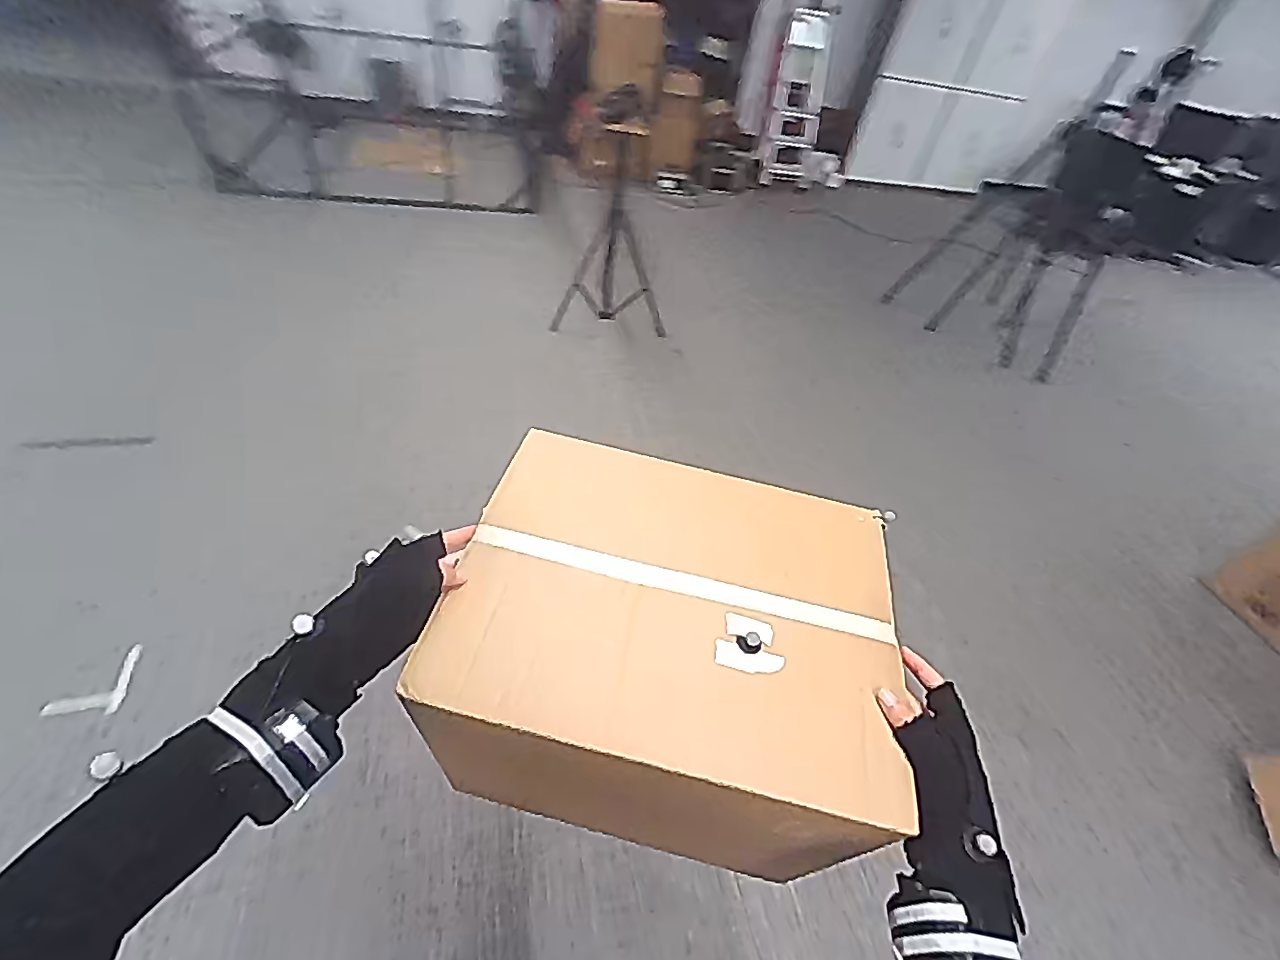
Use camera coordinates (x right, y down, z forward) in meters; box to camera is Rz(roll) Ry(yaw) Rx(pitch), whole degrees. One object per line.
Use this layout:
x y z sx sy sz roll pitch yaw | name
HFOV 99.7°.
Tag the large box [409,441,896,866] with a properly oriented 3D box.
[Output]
0.013 0.203 0.632 0.408 0.320 0.320 14 48 2 | large box
